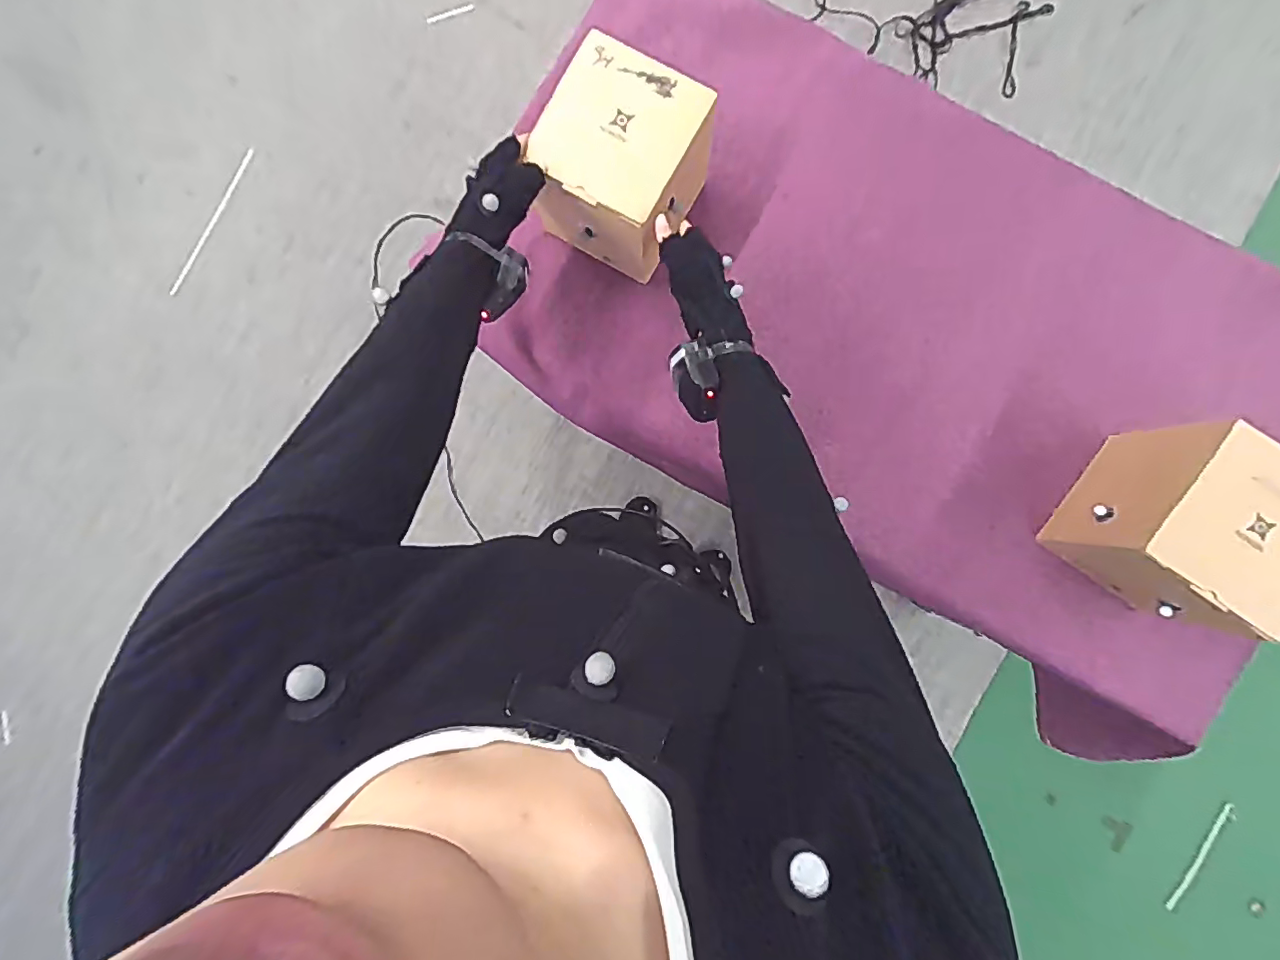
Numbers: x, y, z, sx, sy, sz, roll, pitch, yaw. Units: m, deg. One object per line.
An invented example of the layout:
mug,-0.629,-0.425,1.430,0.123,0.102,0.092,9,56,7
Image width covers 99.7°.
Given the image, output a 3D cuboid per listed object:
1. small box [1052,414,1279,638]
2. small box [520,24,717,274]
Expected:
small box,0.641,0.050,0.635,0.168,0.176,0.179,37,90,3
small box,-0.020,-0.394,0.680,0.168,0.176,0.179,30,90,2
